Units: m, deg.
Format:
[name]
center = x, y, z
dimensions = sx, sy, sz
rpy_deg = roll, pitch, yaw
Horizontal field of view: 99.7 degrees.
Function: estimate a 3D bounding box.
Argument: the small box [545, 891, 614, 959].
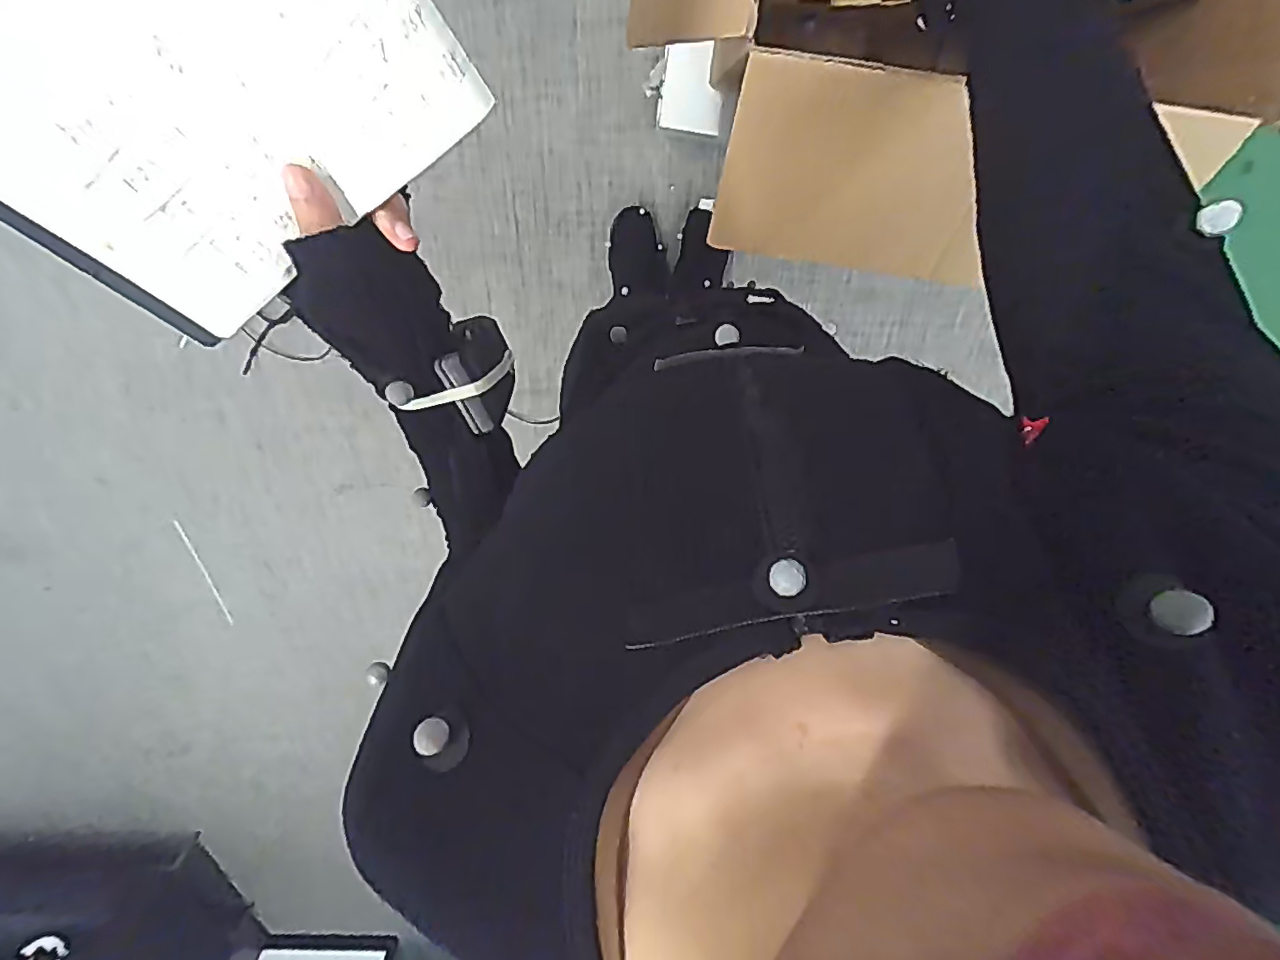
[small box]
center = -0.155, 1.208, 1.417
dimensions = 0.168, 0.176, 0.179
rpy_deg = 0, 122, 1
